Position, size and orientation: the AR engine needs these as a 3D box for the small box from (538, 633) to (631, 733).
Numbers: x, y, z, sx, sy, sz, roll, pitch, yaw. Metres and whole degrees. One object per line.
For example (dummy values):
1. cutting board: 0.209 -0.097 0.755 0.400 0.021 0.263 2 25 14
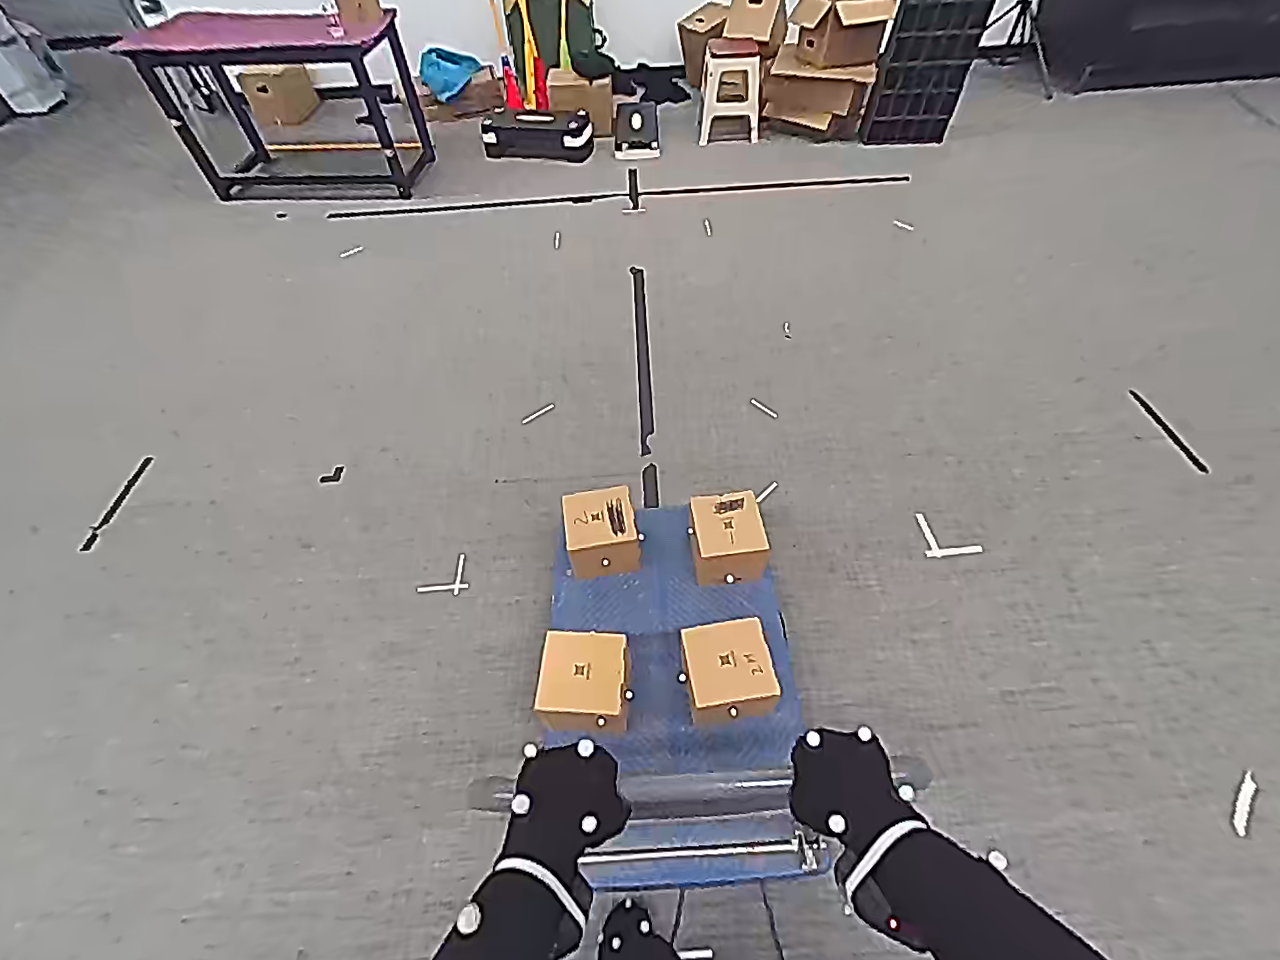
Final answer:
1. small box: -0.114 0.451 1.196 0.179 0.176 0.168 2 52 3

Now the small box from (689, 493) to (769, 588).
1. small box: 0.222 0.158 1.397 0.168 0.176 0.179 -7 54 -1

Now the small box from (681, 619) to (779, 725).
1. small box: 0.191 0.428 1.194 0.179 0.176 0.168 -8 53 -3
